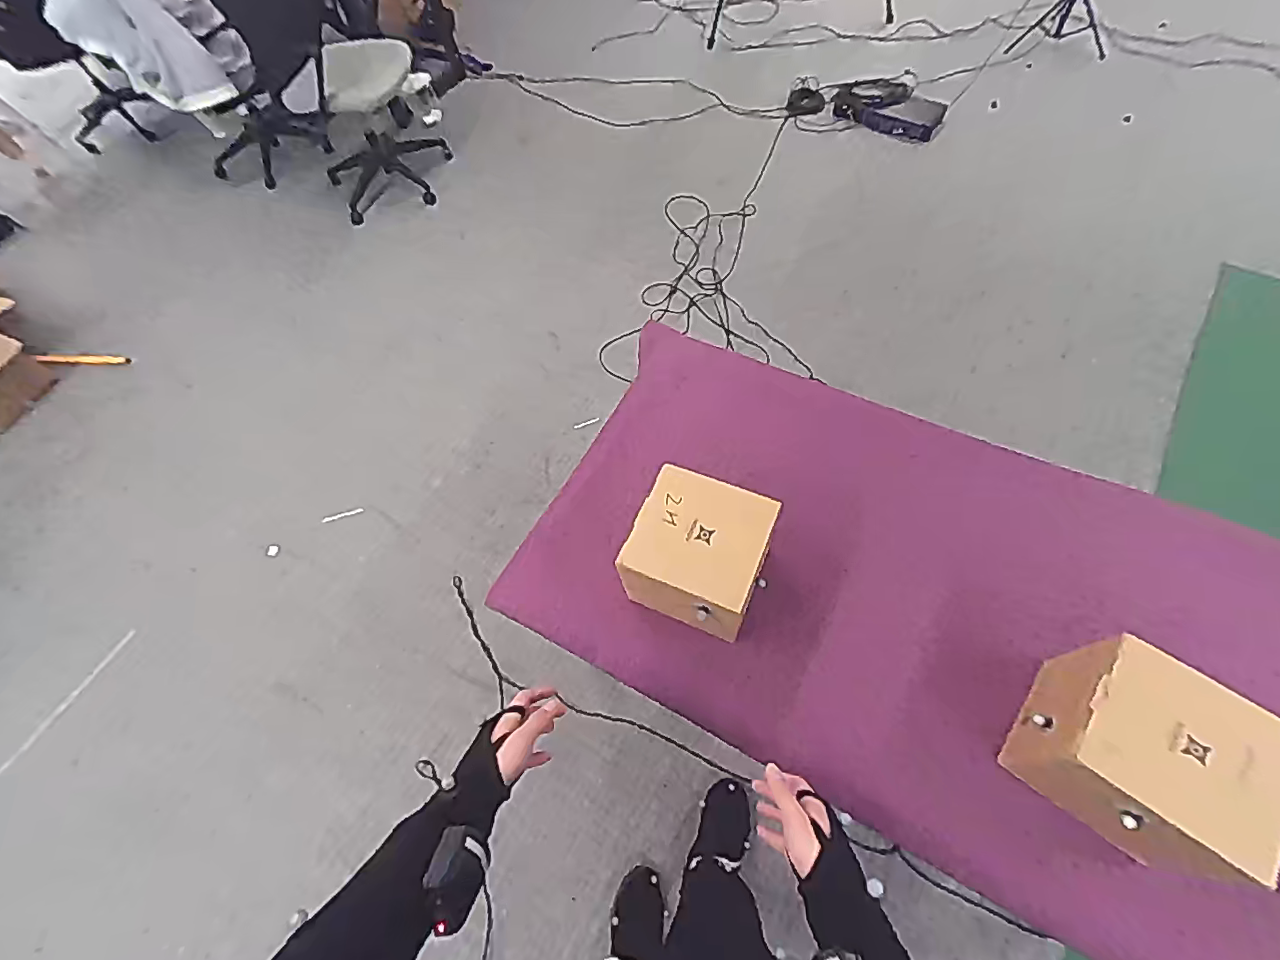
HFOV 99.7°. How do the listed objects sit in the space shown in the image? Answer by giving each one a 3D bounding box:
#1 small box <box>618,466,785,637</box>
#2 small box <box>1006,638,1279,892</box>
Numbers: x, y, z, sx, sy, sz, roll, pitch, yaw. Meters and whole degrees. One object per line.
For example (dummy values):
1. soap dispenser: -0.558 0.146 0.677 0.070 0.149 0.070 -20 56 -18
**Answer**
1. small box: 0.091 0.111 0.782 0.179 0.176 0.168 20 65 17
2. small box: 0.568 0.316 0.617 0.179 0.176 0.168 35 70 22
